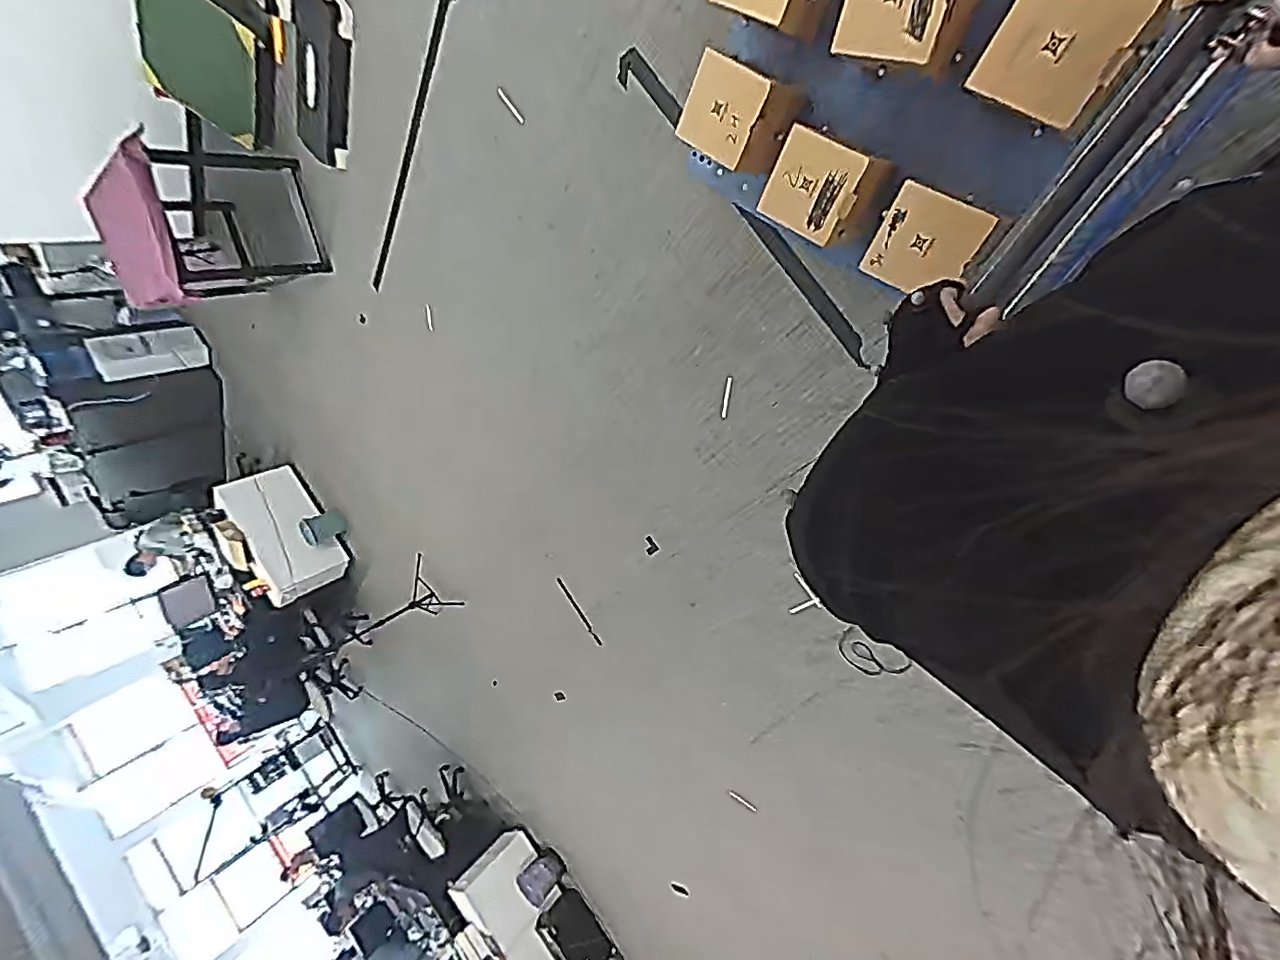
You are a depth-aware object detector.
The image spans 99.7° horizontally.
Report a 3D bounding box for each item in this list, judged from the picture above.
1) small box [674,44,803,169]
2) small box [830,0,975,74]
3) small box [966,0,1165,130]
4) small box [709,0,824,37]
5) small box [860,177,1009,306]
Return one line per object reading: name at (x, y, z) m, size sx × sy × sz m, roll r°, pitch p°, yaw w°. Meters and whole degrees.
small box at (0.212, -0.787, 1.158) m, size 0.179 × 0.176 × 0.168 m, roll 41°, pitch 132°, yaw 16°
small box at (0.464, -0.818, 0.928) m, size 0.179 × 0.176 × 0.168 m, roll 31°, pitch 128°, yaw 27°
small box at (0.655, -0.669, 0.840) m, size 0.179 × 0.176 × 0.168 m, roll 41°, pitch 132°, yaw 18°
small box at (0.261, -0.973, 1.024) m, size 0.179 × 0.176 × 0.168 m, roll 38°, pitch 131°, yaw 20°
small box at (0.561, -0.455, 1.026) m, size 0.179 × 0.176 × 0.168 m, roll 38°, pitch 130°, yaw 20°
